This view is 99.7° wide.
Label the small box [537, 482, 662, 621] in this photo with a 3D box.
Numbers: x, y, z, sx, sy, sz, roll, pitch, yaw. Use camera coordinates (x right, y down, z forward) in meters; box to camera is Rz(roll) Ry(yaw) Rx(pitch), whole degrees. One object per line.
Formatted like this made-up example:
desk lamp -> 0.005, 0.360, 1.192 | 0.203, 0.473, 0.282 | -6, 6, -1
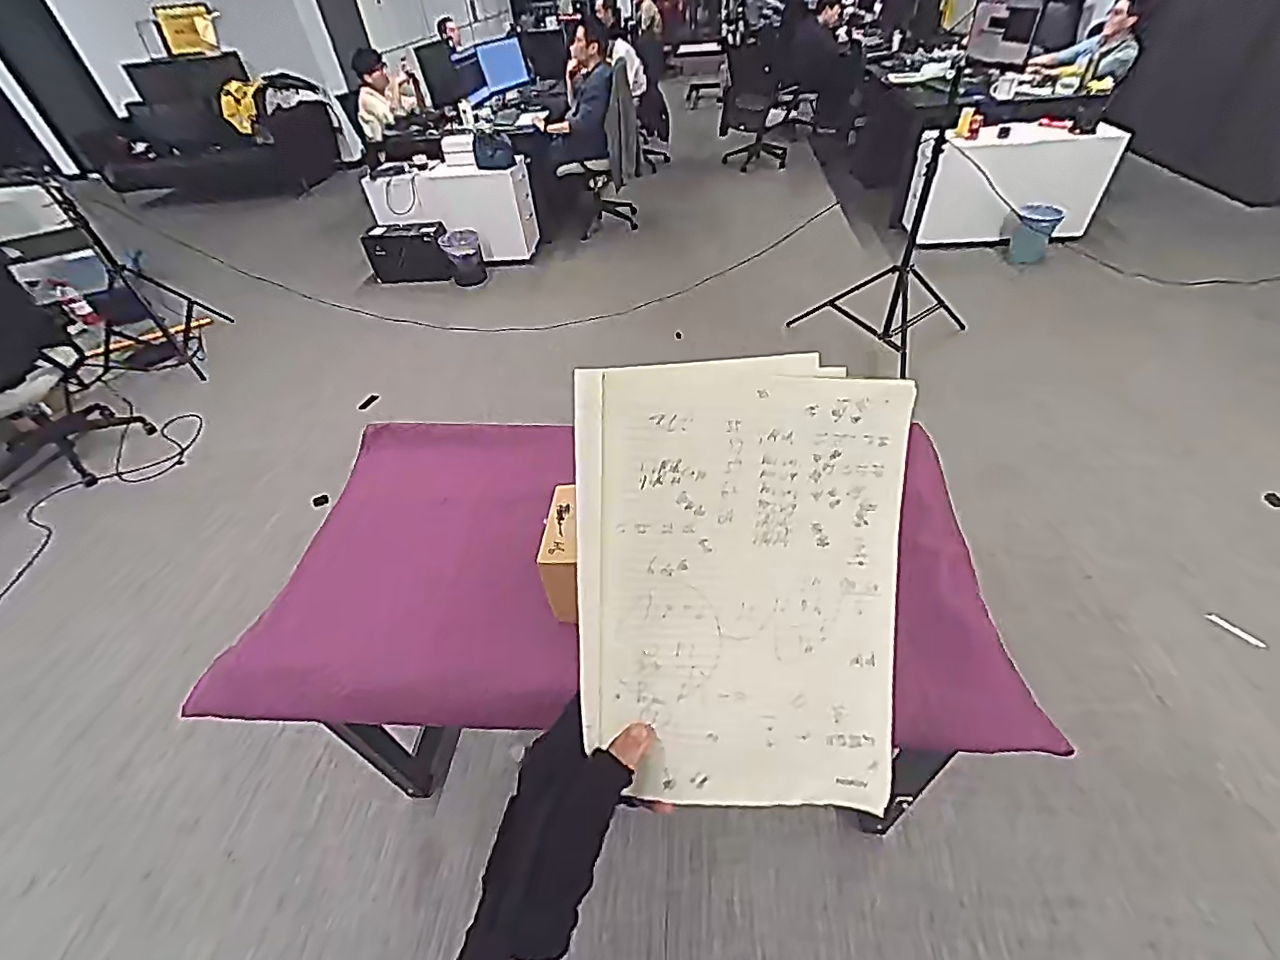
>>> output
small box -> -0.055, 0.121, 0.902 | 0.179, 0.176, 0.168 | 0, 43, 6
